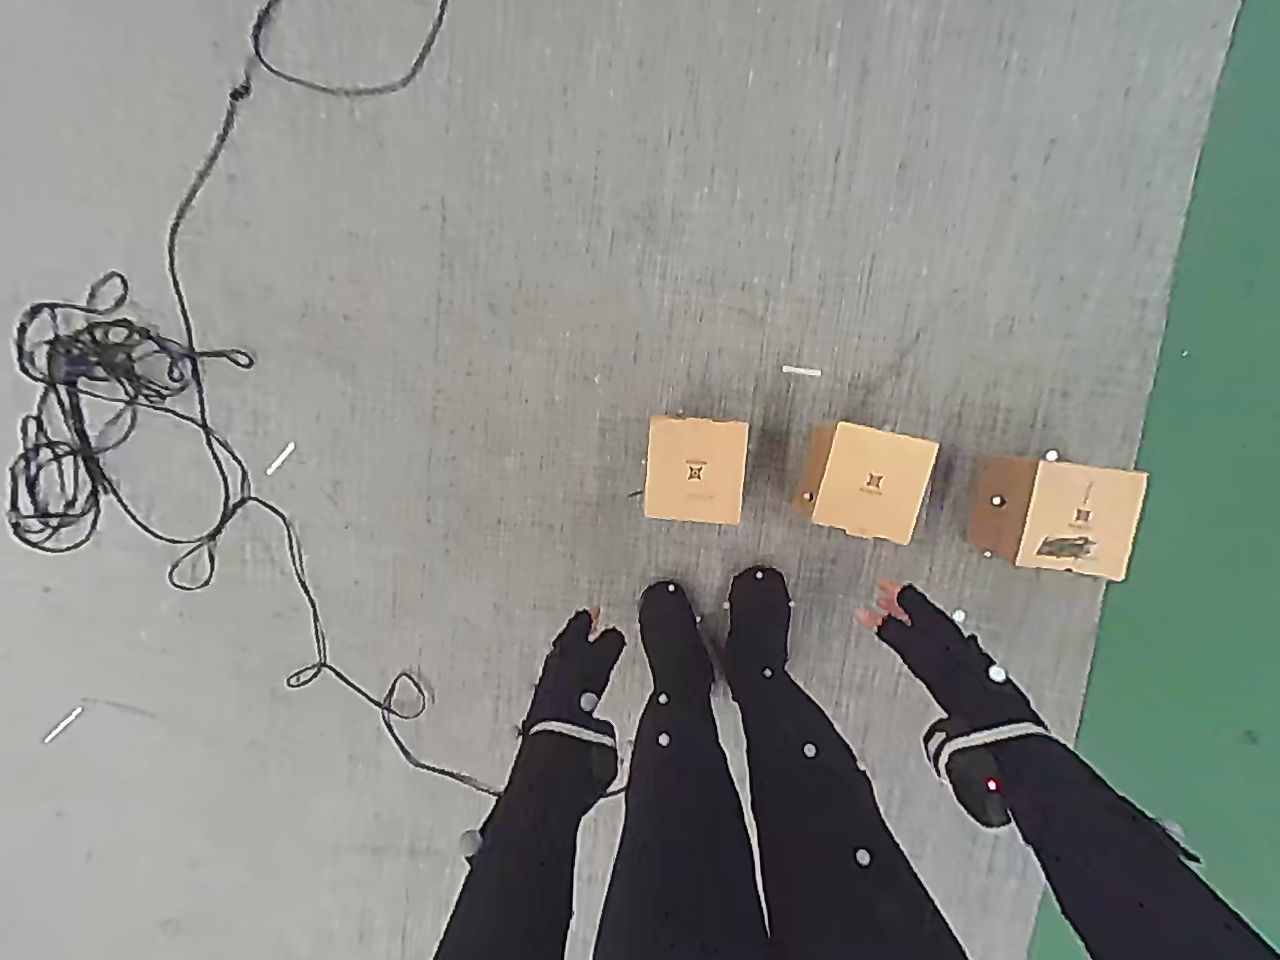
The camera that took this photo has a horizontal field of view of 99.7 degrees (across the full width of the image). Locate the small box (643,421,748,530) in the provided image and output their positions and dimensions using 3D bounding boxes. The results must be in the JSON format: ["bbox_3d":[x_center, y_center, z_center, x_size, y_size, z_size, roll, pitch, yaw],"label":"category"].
[{"bbox_3d":[0.101,-0.016,0.985,0.168,0.176,0.179,4,98,7],"label":"small box"}]

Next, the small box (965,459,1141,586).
[{"bbox_3d":[0.697,0.065,0.937,0.168,0.176,0.179,8,96,5],"label":"small box"}]

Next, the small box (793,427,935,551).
[{"bbox_3d":[0.384,0.006,0.960,0.168,0.176,0.179,13,98,4],"label":"small box"}]
